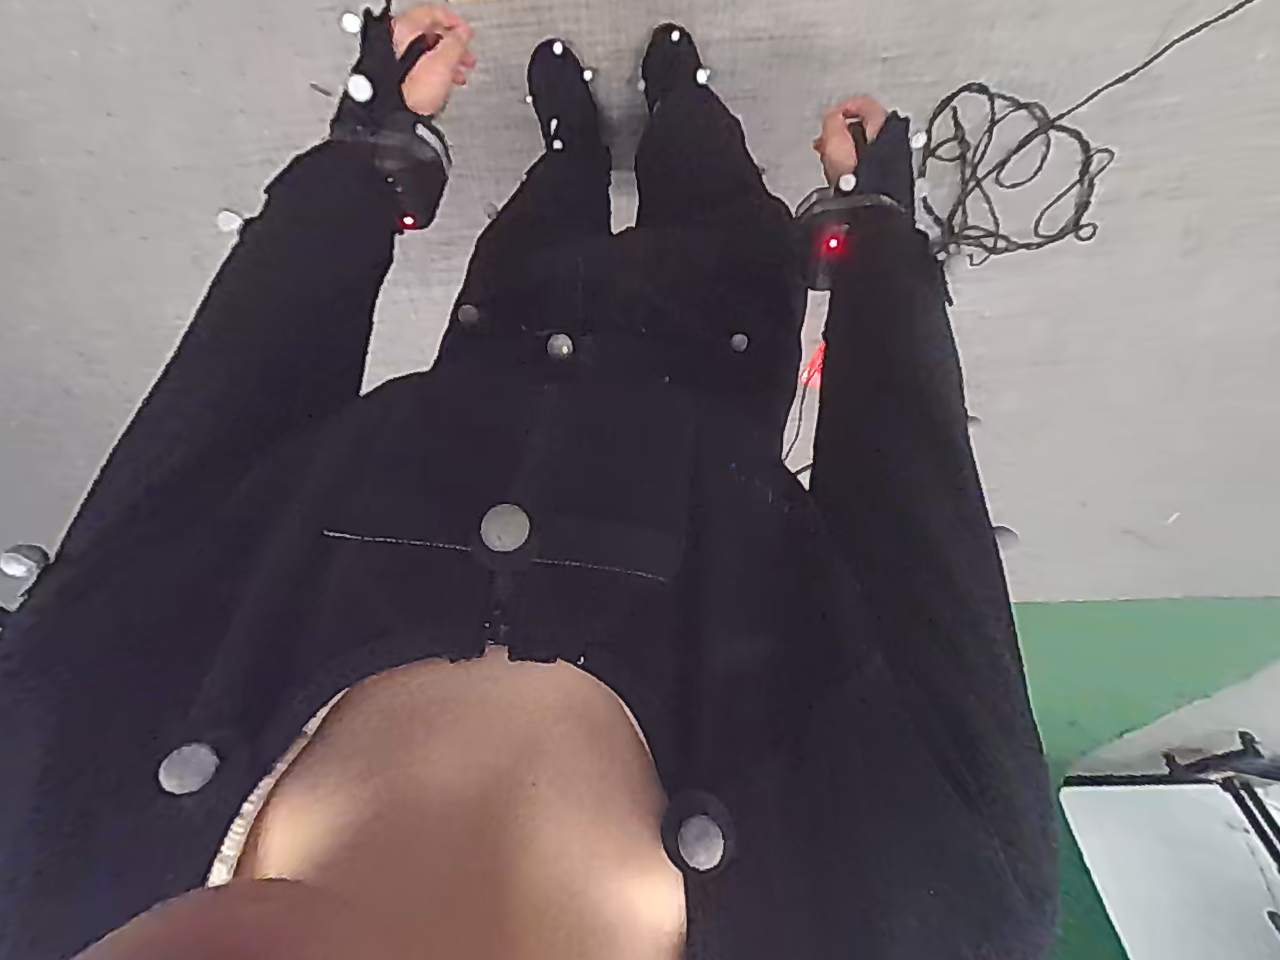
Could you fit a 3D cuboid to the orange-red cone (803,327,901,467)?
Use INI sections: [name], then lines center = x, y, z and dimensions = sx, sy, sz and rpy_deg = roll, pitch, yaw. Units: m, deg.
[orange-red cone]
center = 0.550, -0.173, 1.294
dimensions = 0.199, 0.360, 0.198
rpy_deg = 10, 138, -13
